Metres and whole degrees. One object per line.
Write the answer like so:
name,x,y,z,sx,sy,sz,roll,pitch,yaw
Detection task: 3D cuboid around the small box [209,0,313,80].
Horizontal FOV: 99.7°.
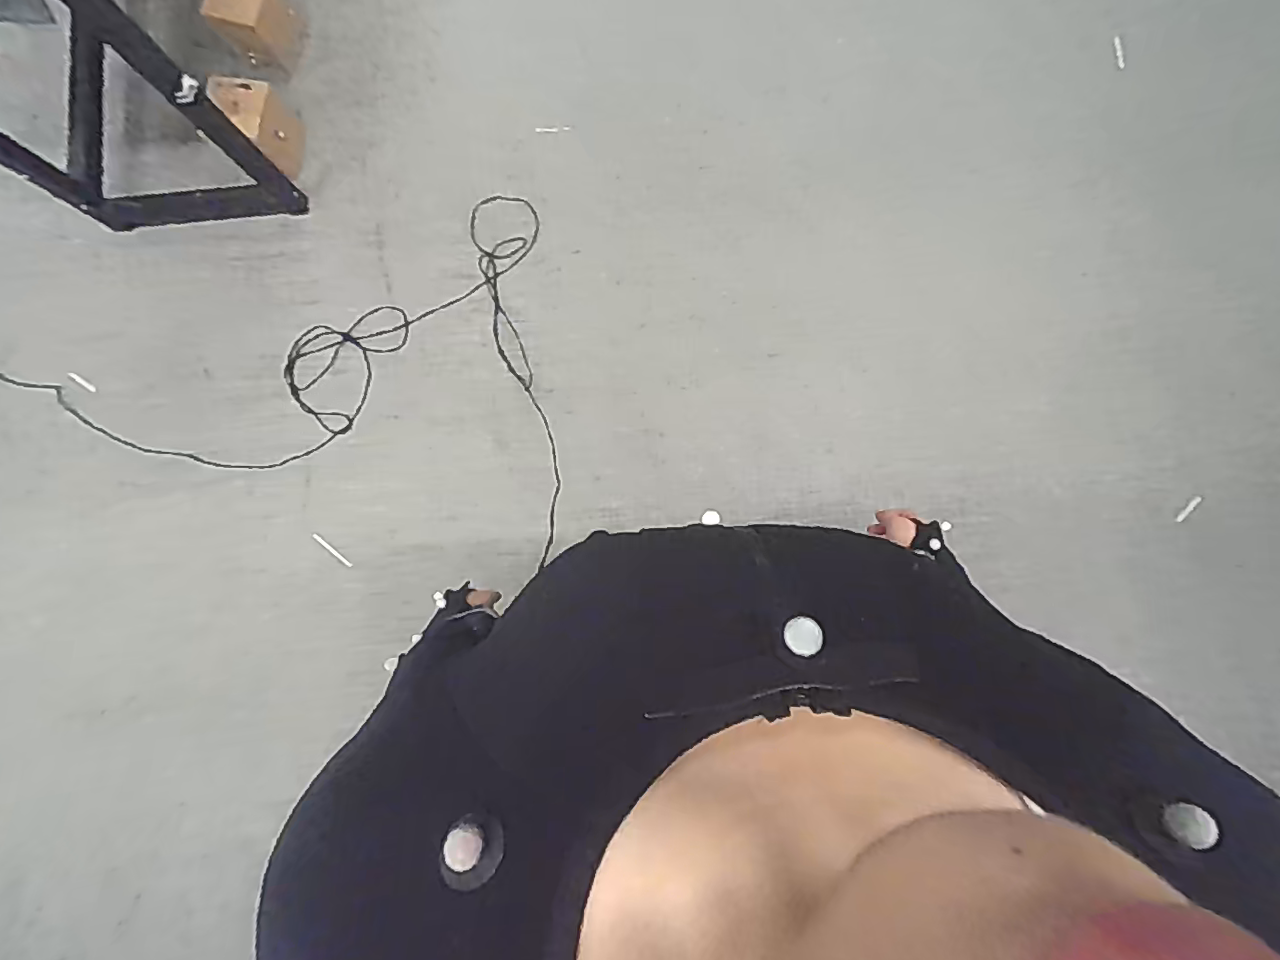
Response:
small box,-1.102,-1.337,1.589,0.168,0.176,0.179,15,86,2

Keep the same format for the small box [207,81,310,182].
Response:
small box,-1.086,-0.992,1.553,0.168,0.176,0.179,7,85,0
